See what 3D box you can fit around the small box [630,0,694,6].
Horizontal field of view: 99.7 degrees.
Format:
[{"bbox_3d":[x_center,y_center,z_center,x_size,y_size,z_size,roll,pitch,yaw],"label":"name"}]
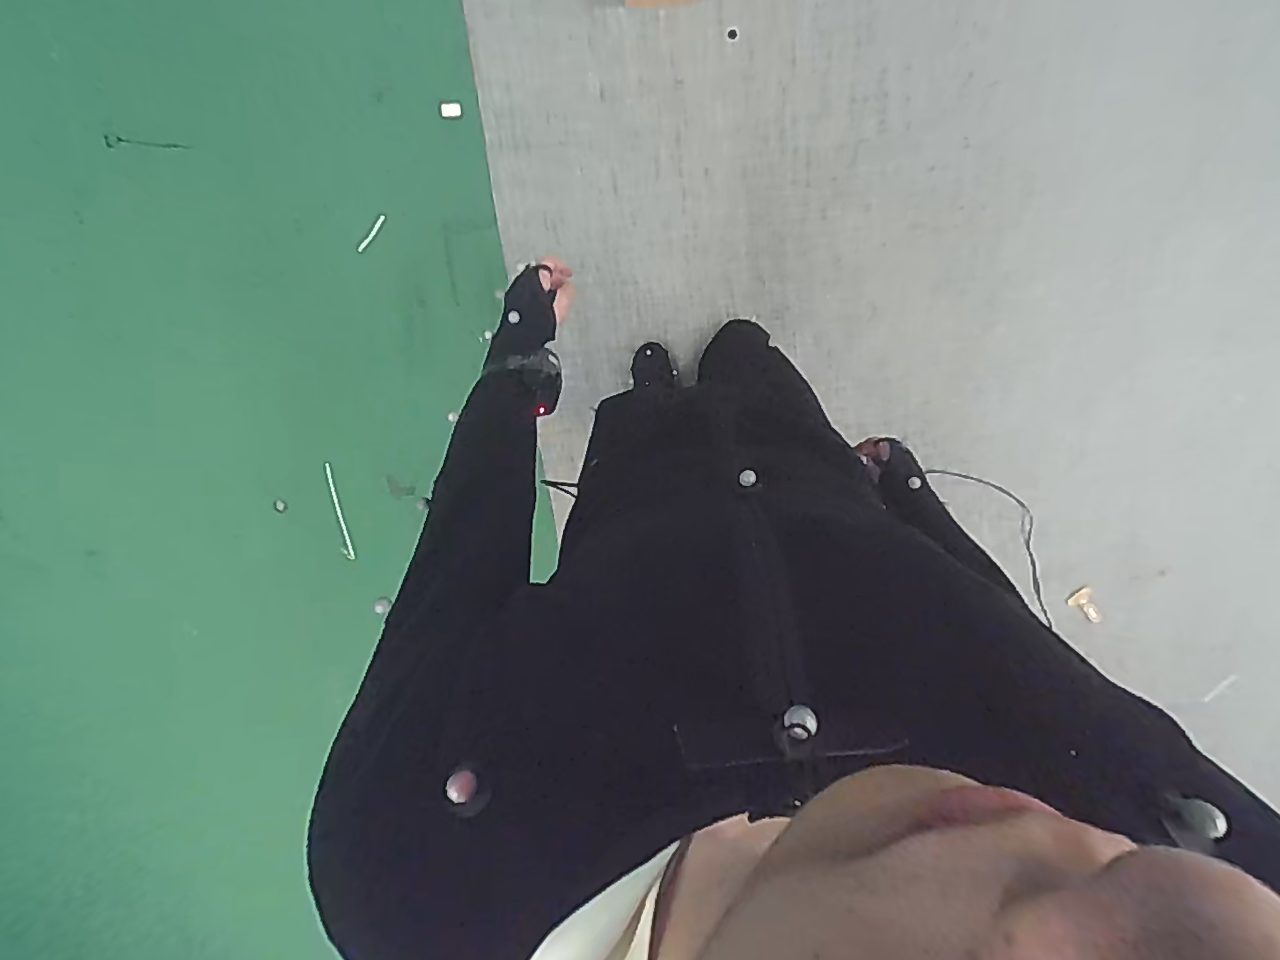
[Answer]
[{"bbox_3d":[0.053,-1.191,1.195,0.179,0.176,0.168,-4,107,2],"label":"small box"}]
